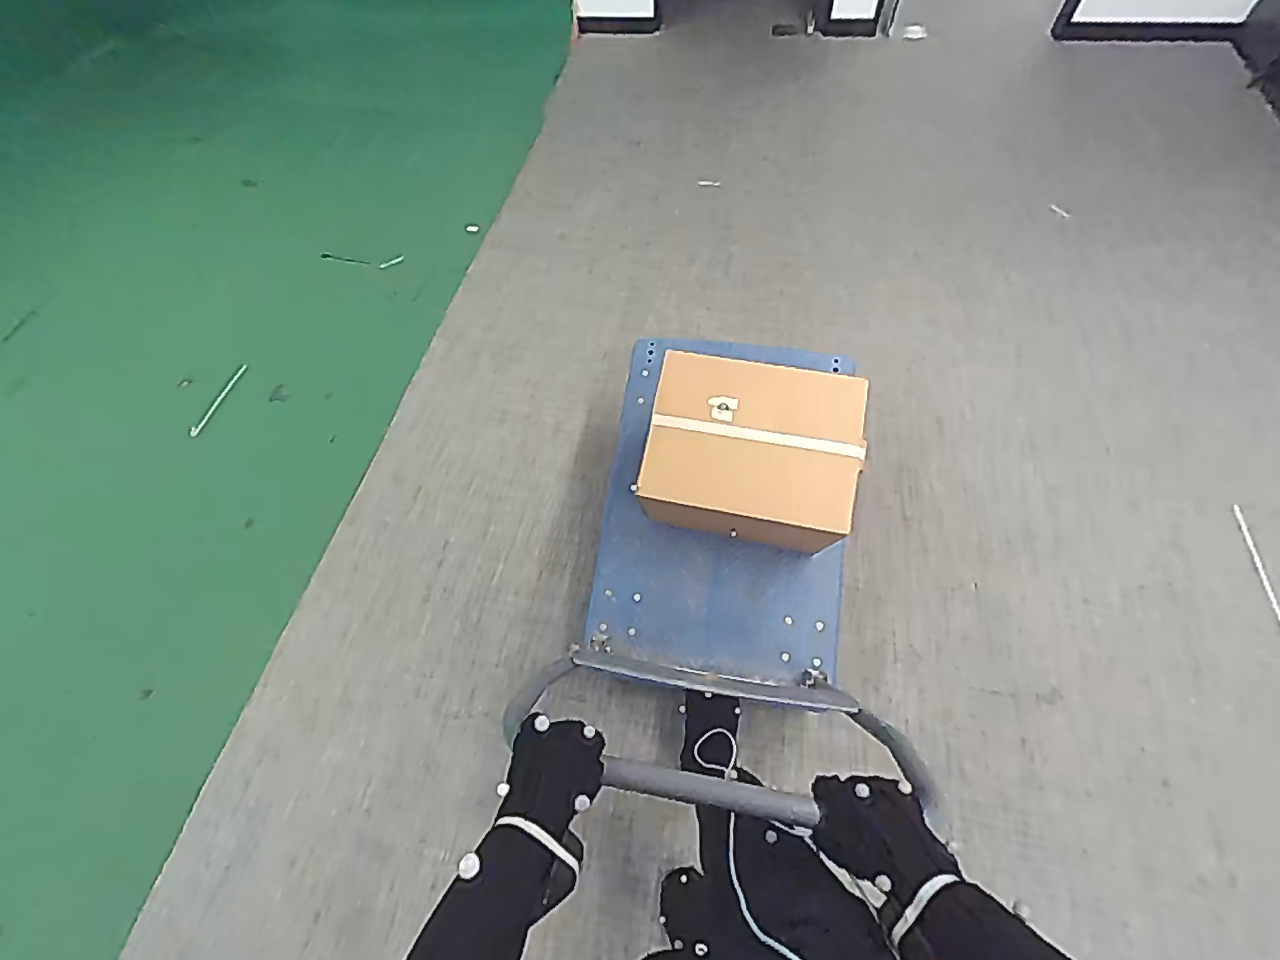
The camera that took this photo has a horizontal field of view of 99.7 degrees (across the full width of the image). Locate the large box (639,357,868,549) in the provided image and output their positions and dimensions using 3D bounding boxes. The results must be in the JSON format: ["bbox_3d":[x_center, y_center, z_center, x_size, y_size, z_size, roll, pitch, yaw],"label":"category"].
[{"bbox_3d":[0.241,-0.043,1.184,0.408,0.320,0.320,10,77,10],"label":"large box"}]
